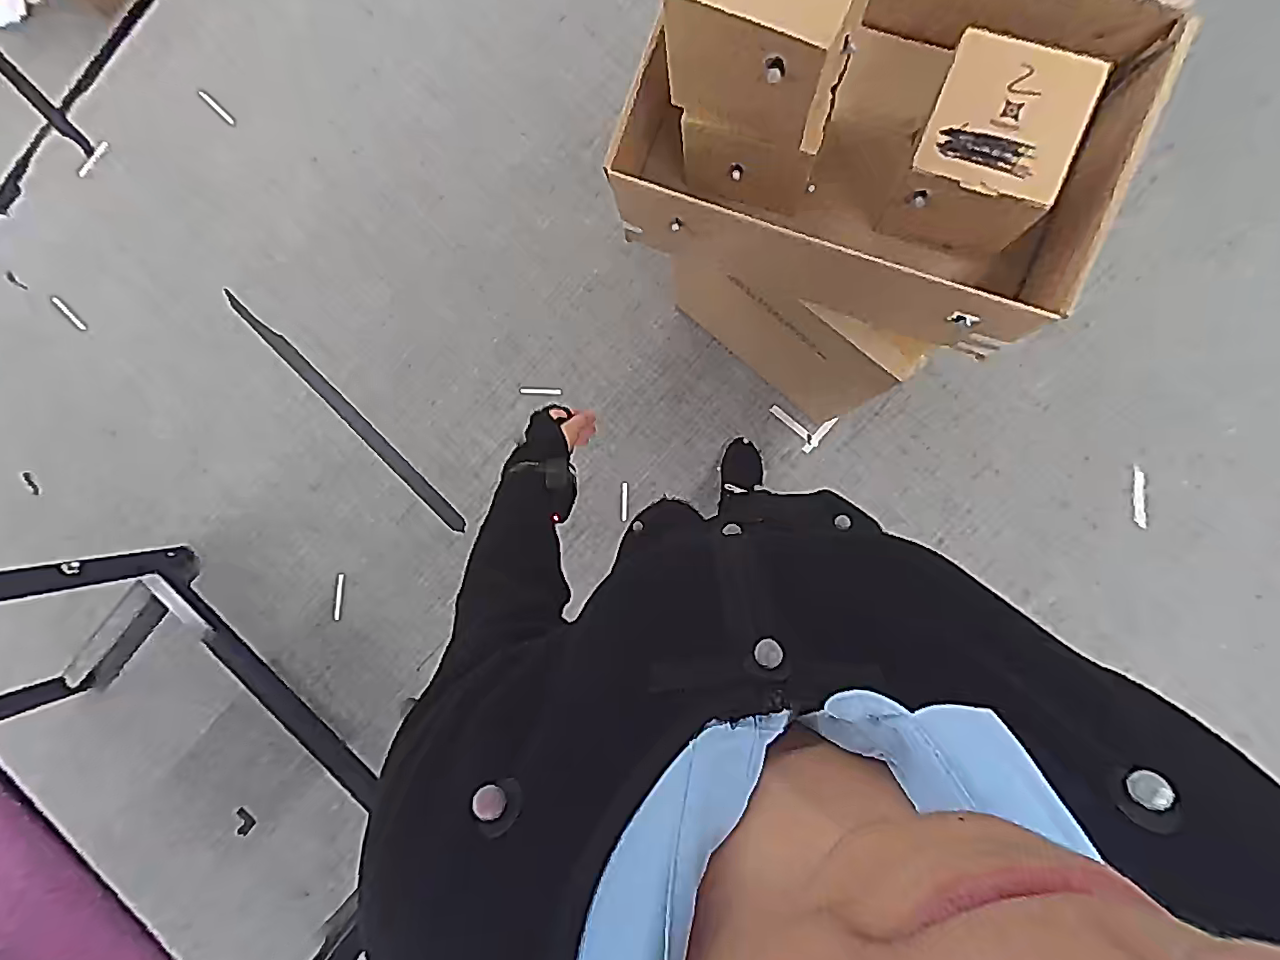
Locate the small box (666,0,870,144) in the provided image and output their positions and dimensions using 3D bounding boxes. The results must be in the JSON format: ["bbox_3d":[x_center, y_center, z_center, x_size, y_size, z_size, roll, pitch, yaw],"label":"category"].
[{"bbox_3d":[0.145,-0.507,0.583,0.179,0.176,0.168,26,94,7],"label":"small box"}]
